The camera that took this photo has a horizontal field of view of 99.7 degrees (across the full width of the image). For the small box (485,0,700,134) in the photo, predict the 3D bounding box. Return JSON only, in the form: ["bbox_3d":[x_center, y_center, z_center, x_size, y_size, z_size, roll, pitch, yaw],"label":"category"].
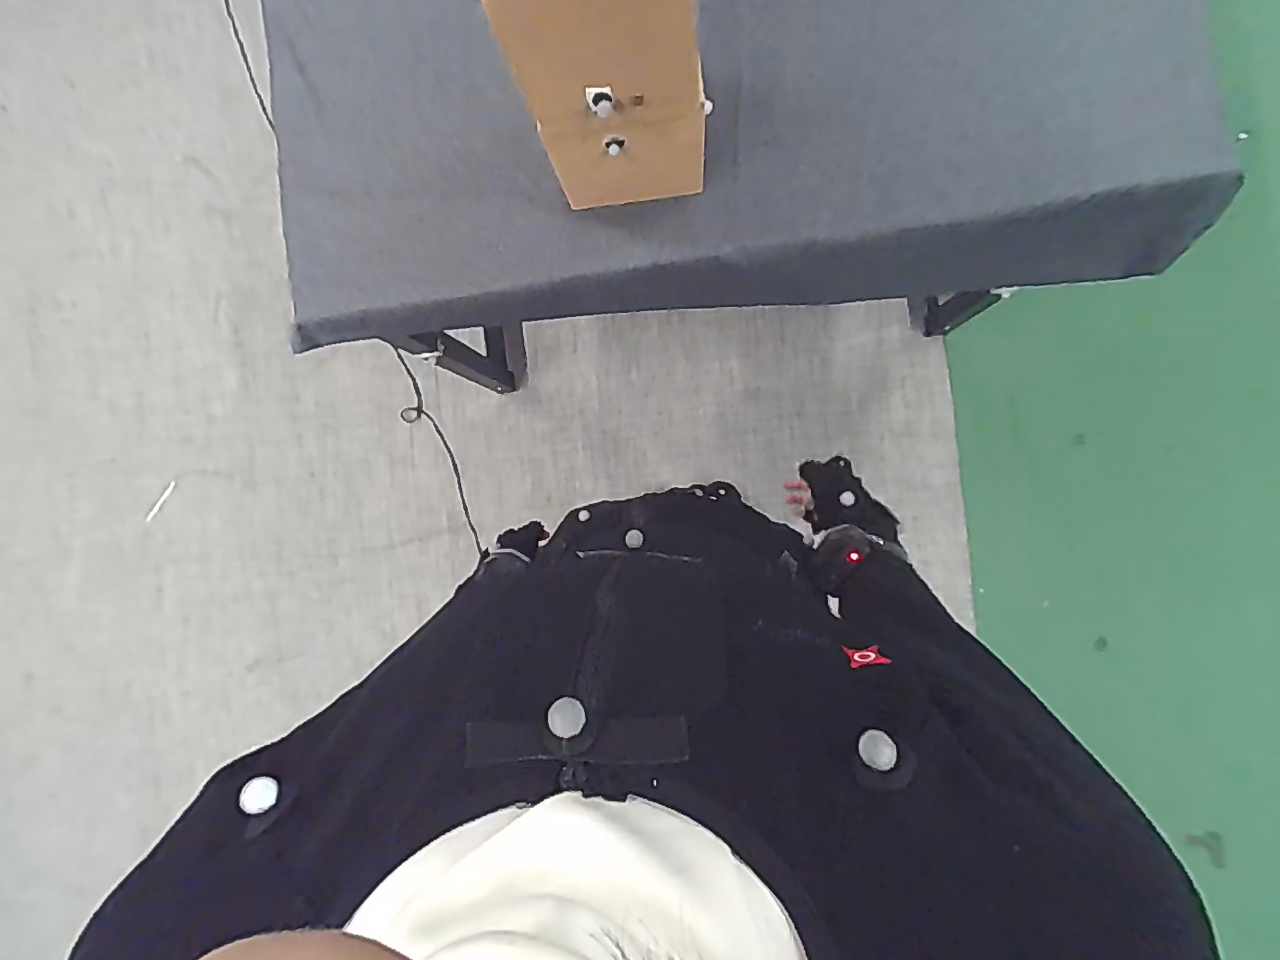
[{"bbox_3d":[-0.037,-0.452,0.477,0.168,0.176,0.179,-5,89,8],"label":"small box"}]

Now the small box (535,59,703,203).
[{"bbox_3d":[-0.018,-0.451,0.637,0.179,0.176,0.168,-4,89,6],"label":"small box"}]
